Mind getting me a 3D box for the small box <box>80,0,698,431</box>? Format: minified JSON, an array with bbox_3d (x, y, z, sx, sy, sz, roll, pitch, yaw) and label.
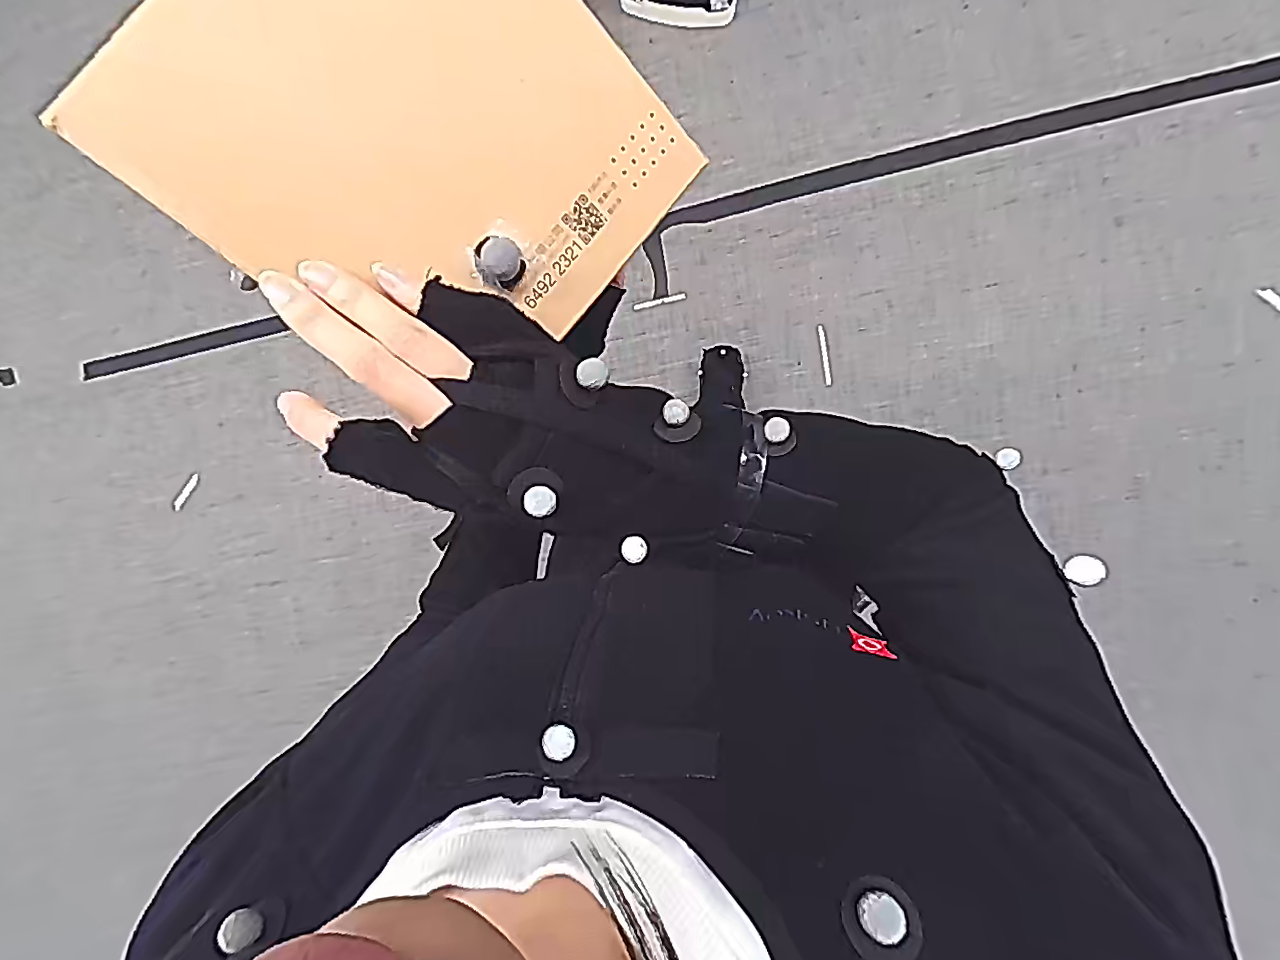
[{"bbox_3d":[-0.103,-0.144,0.288,0.176,0.179,0.168,39,88,-24],"label":"small box"}]
